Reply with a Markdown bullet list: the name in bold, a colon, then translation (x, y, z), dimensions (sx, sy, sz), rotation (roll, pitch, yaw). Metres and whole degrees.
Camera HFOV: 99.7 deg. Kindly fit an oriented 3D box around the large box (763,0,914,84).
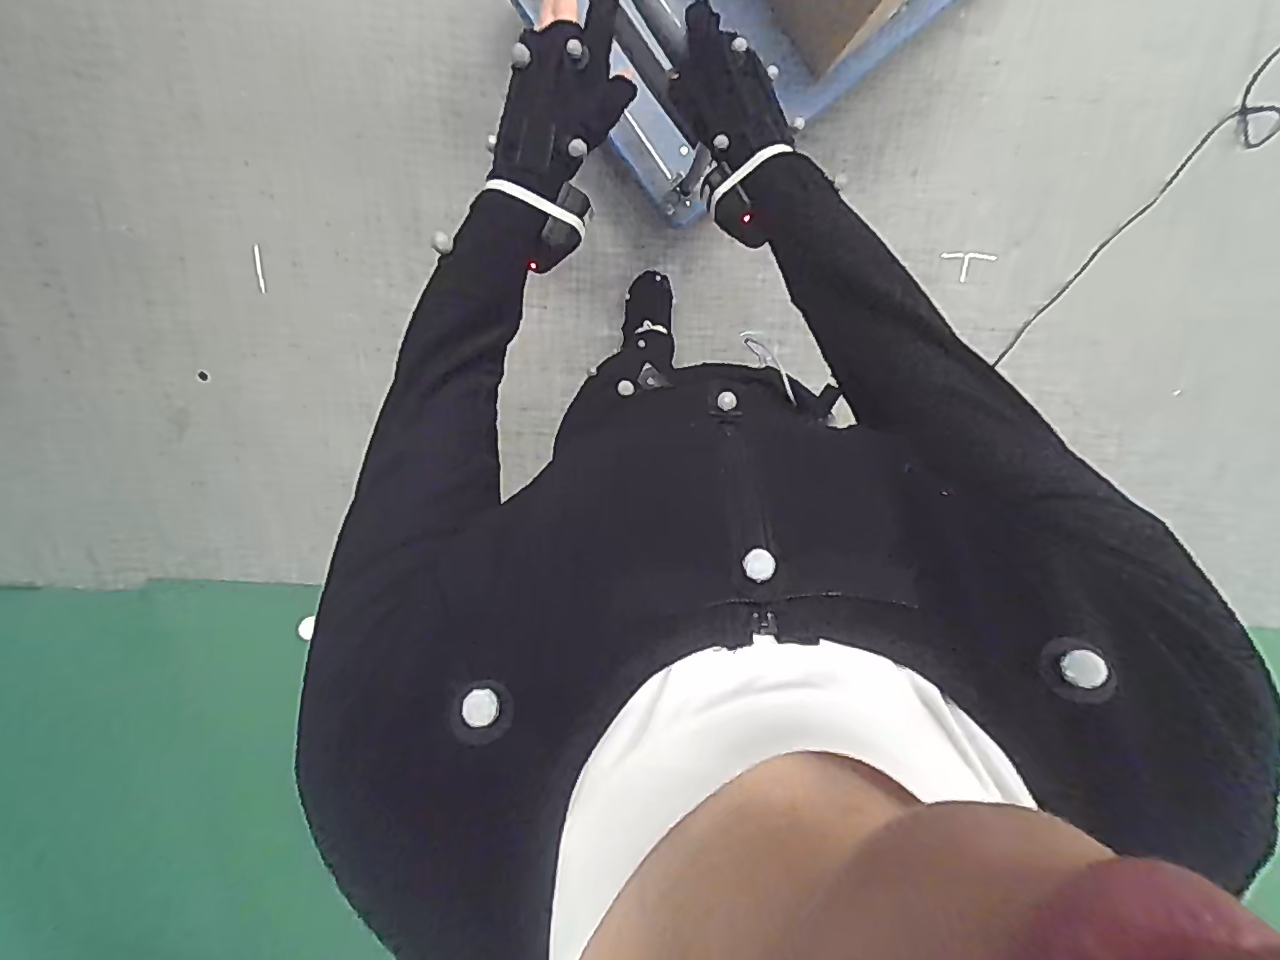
- **large box**: translation (0.341, -0.972, 0.859), dimensions (0.320, 0.320, 0.408), rotation (-39, 102, 10)
